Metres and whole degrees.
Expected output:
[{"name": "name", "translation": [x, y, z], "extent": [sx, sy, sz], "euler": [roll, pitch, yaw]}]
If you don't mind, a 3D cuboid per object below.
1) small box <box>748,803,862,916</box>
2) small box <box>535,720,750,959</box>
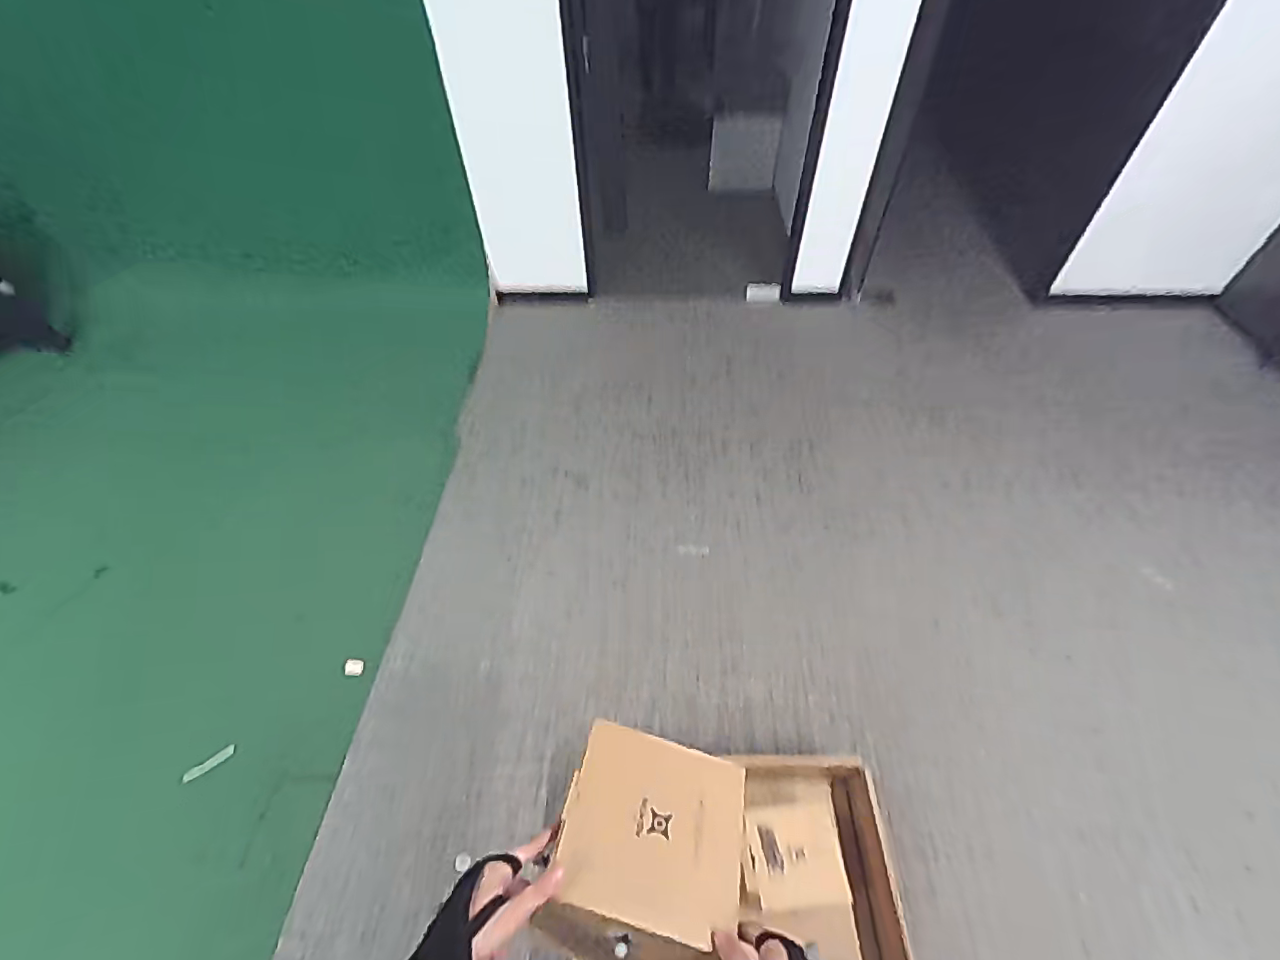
[{"name": "small box", "translation": [0.323, 0.779, 1.106], "extent": [0.179, 0.176, 0.168], "euler": [-6, 51, -2]}, {"name": "small box", "translation": [0.001, 0.391, 0.567], "extent": [0.179, 0.176, 0.168], "euler": [18, 38, 2]}]
